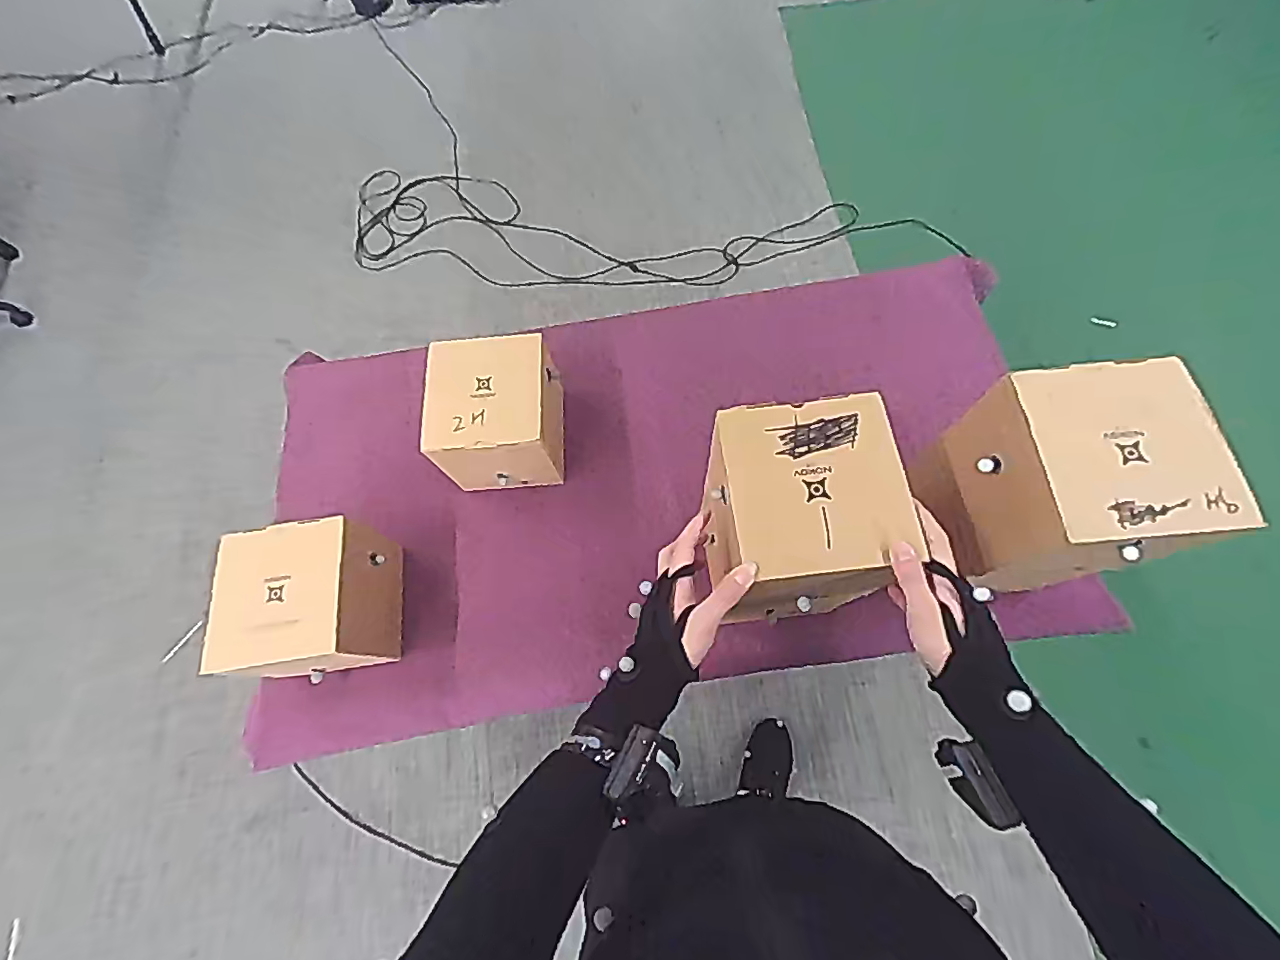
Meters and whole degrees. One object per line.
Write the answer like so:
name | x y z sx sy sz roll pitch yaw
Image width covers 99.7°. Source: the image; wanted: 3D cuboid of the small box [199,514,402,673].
small box | -0.446 0.162 0.744 0.168 0.176 0.179 -8 69 1

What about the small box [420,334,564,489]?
small box | -0.213 -0.099 0.827 0.168 0.176 0.179 -4 70 3

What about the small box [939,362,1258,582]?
small box | 0.447 0.000 0.570 0.168 0.176 0.179 -5 68 3

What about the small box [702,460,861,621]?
small box | 0.176 0.092 0.733 0.168 0.176 0.179 -7 68 2
